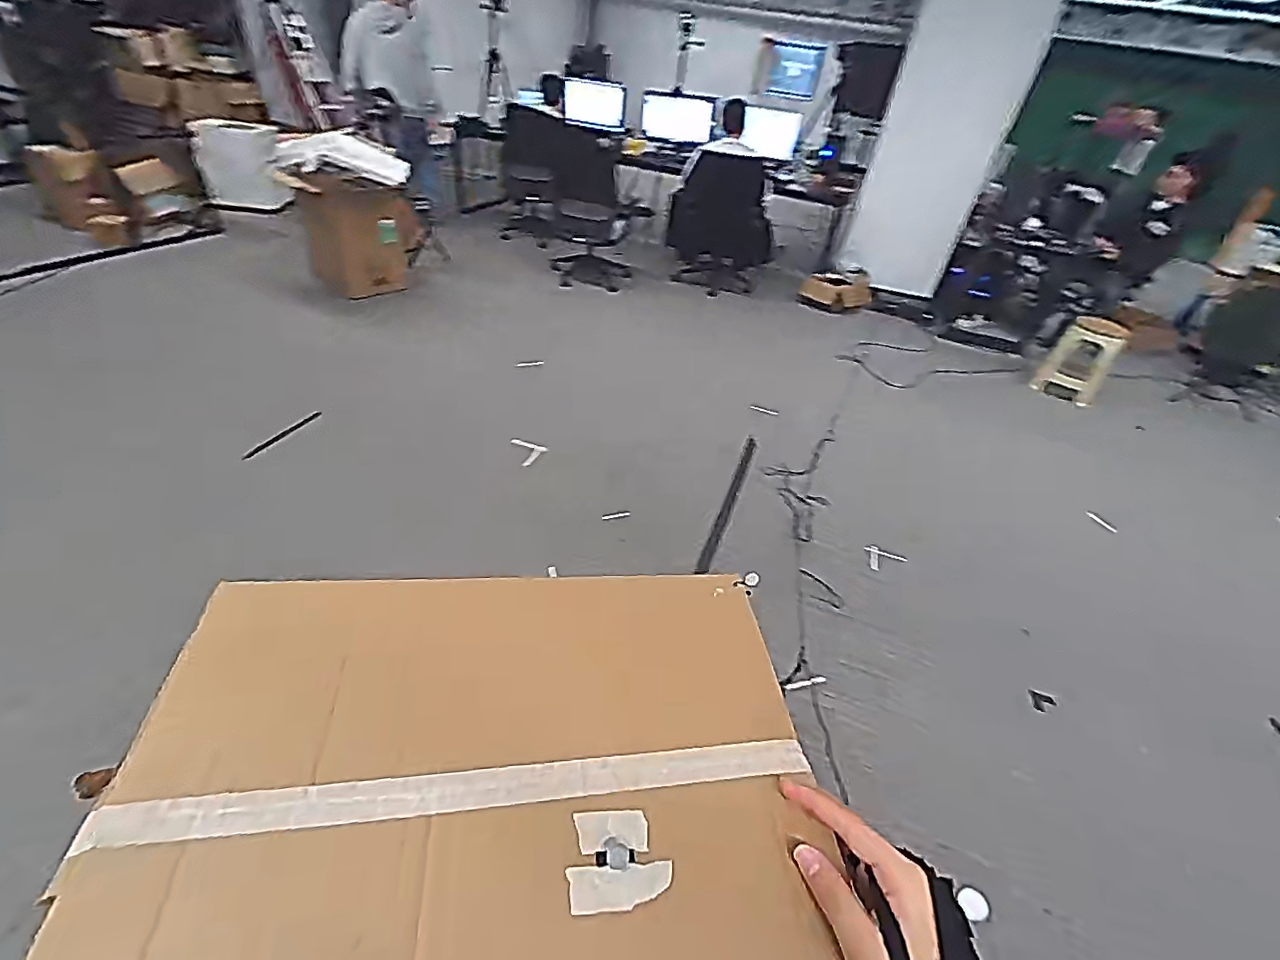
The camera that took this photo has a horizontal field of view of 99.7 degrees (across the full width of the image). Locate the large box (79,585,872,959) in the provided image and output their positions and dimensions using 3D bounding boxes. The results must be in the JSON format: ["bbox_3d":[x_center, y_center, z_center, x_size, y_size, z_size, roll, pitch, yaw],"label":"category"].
[{"bbox_3d":[-0.104,0.302,0.433,0.408,0.320,0.320,2,43,-13],"label":"large box"}]
